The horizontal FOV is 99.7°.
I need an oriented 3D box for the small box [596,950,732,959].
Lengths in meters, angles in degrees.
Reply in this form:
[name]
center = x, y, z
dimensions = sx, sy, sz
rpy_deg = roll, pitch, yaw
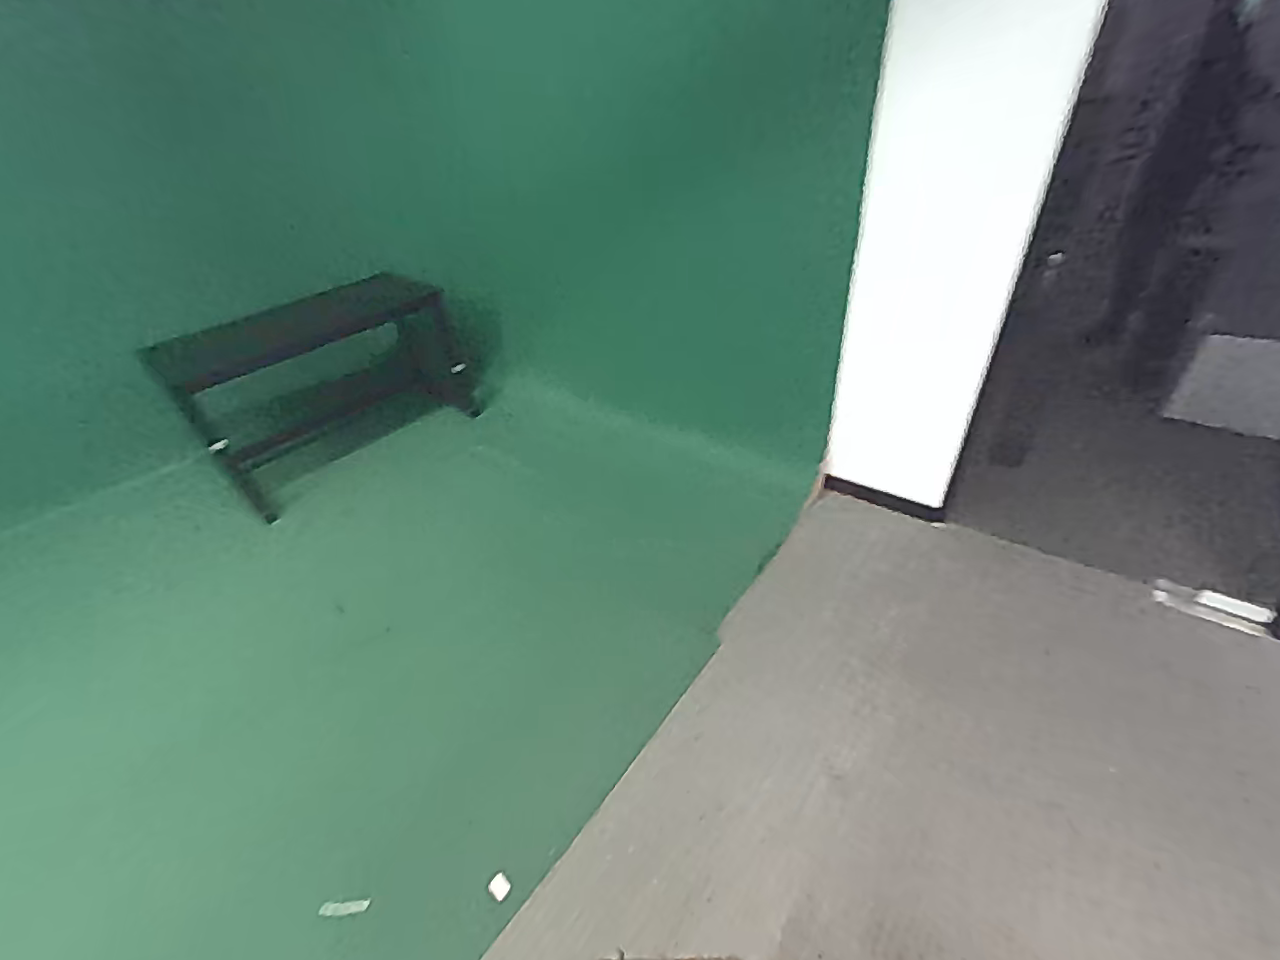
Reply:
[small box]
center = 0.019, 0.562, 0.511
dimensions = 0.179, 0.176, 0.168
rpy_deg = -5, 51, 2
